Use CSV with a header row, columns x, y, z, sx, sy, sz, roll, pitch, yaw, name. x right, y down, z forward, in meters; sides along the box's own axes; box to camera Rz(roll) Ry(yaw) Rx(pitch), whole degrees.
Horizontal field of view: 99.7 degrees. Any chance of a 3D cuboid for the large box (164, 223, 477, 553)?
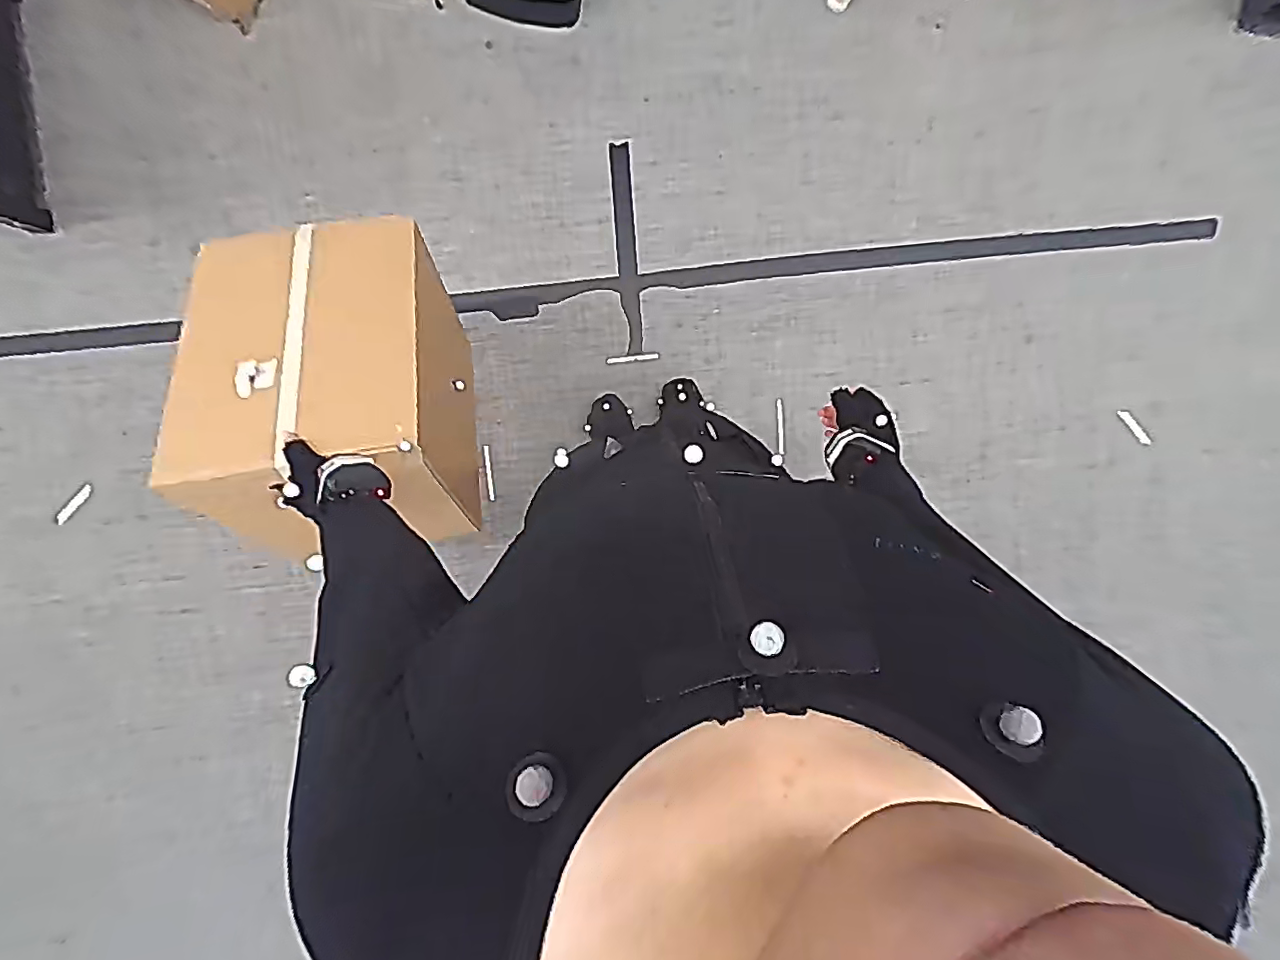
x,y,z,sx,sy,sz,roll,pitch,yaw,name
-0.469,-0.135,0.877,0.320,0.320,0.408,-10,67,-4,large box
